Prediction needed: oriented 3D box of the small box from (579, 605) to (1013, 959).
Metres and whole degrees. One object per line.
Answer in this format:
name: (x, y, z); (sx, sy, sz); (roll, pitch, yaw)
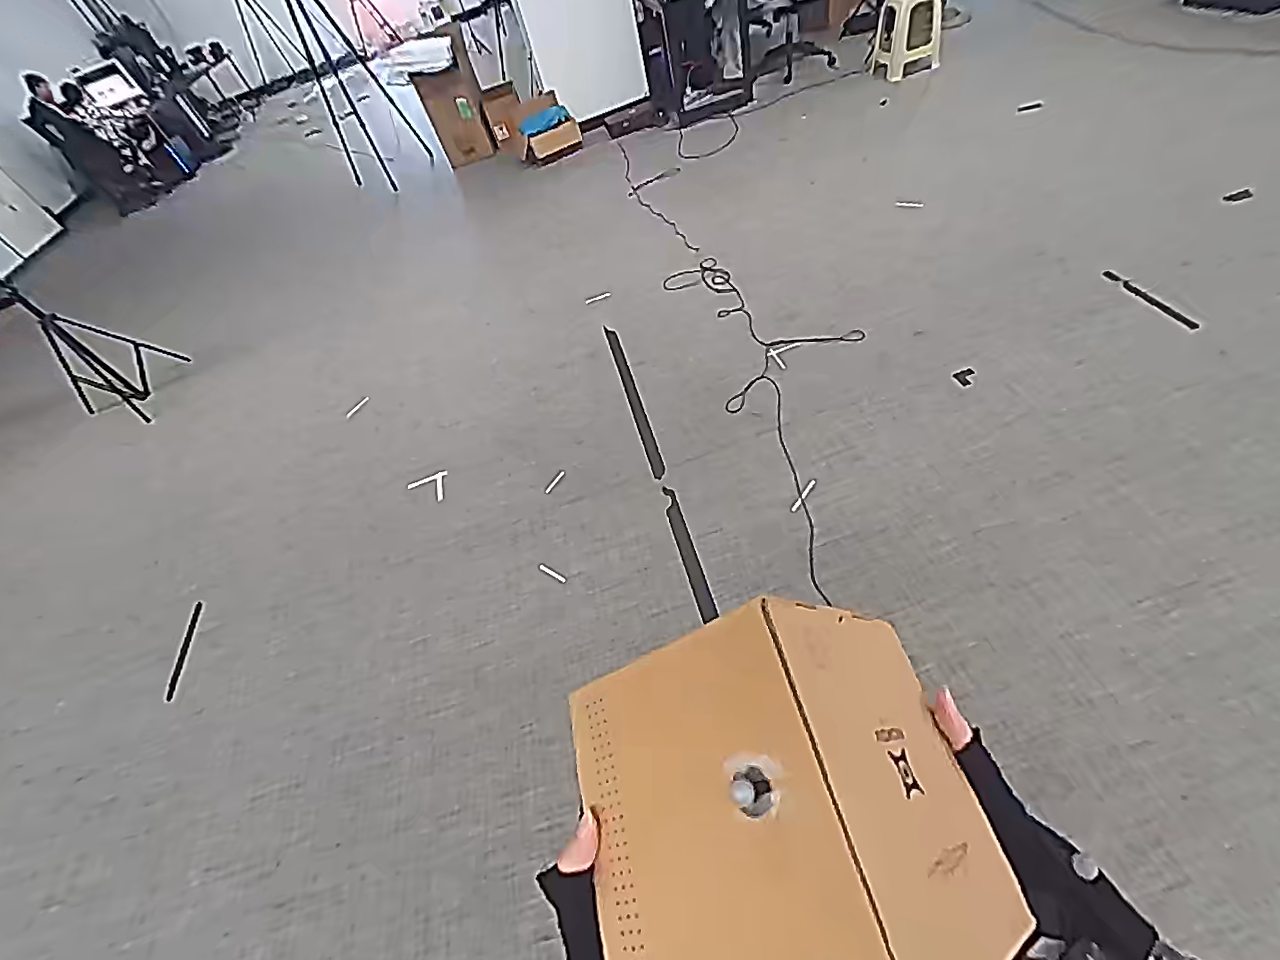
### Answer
small box: (0.079, 0.201, 0.338); (0.176, 0.168, 0.179); (-38, 50, 31)
